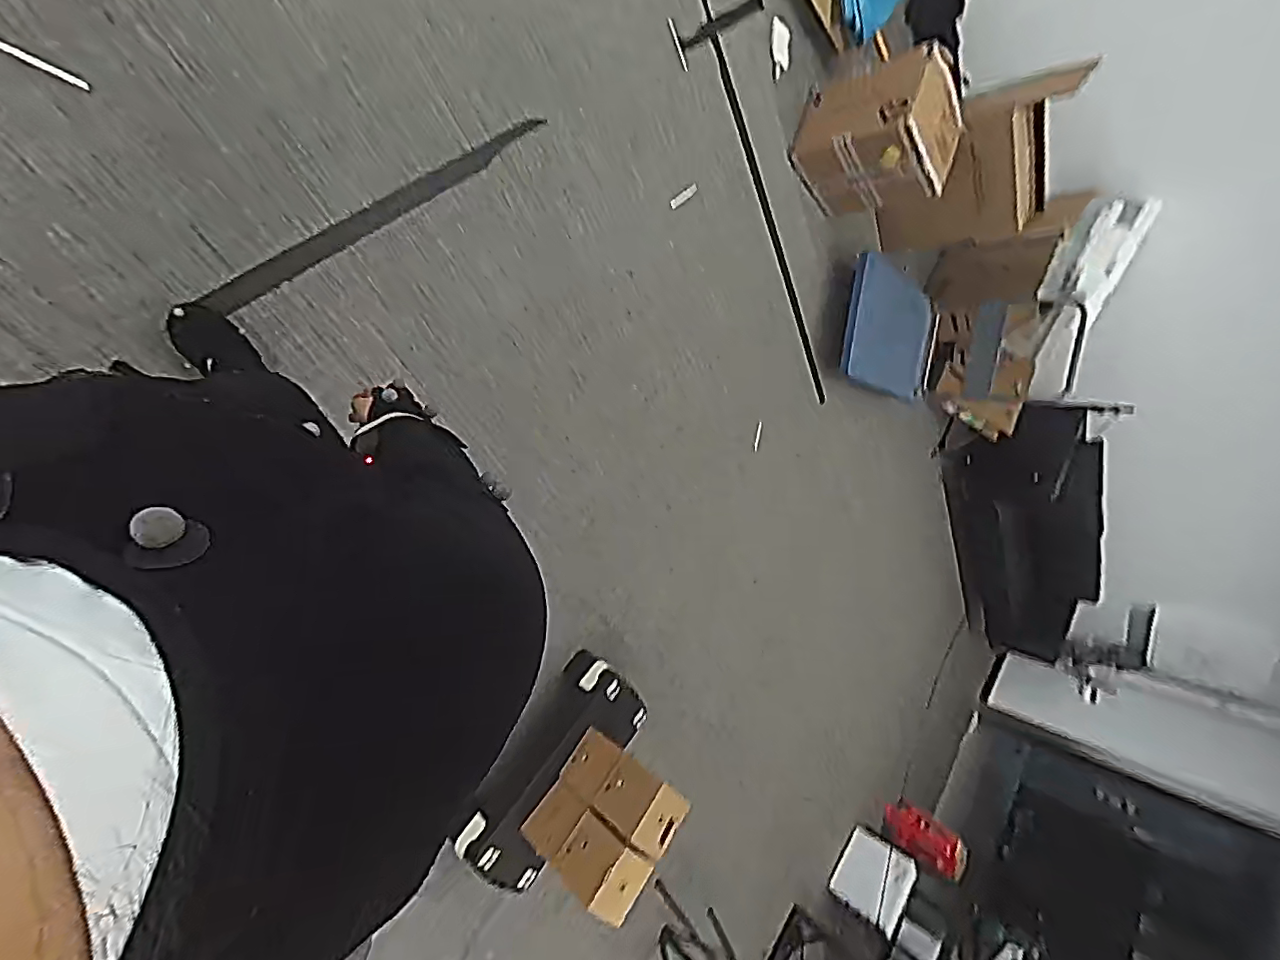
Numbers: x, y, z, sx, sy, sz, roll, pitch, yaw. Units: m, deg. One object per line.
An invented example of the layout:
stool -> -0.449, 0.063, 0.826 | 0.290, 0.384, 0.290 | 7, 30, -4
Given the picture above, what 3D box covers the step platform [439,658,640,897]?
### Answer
step platform -> -0.293, 0.940, 1.749 | 0.684, 0.204, 0.286 | -50, 129, -26
